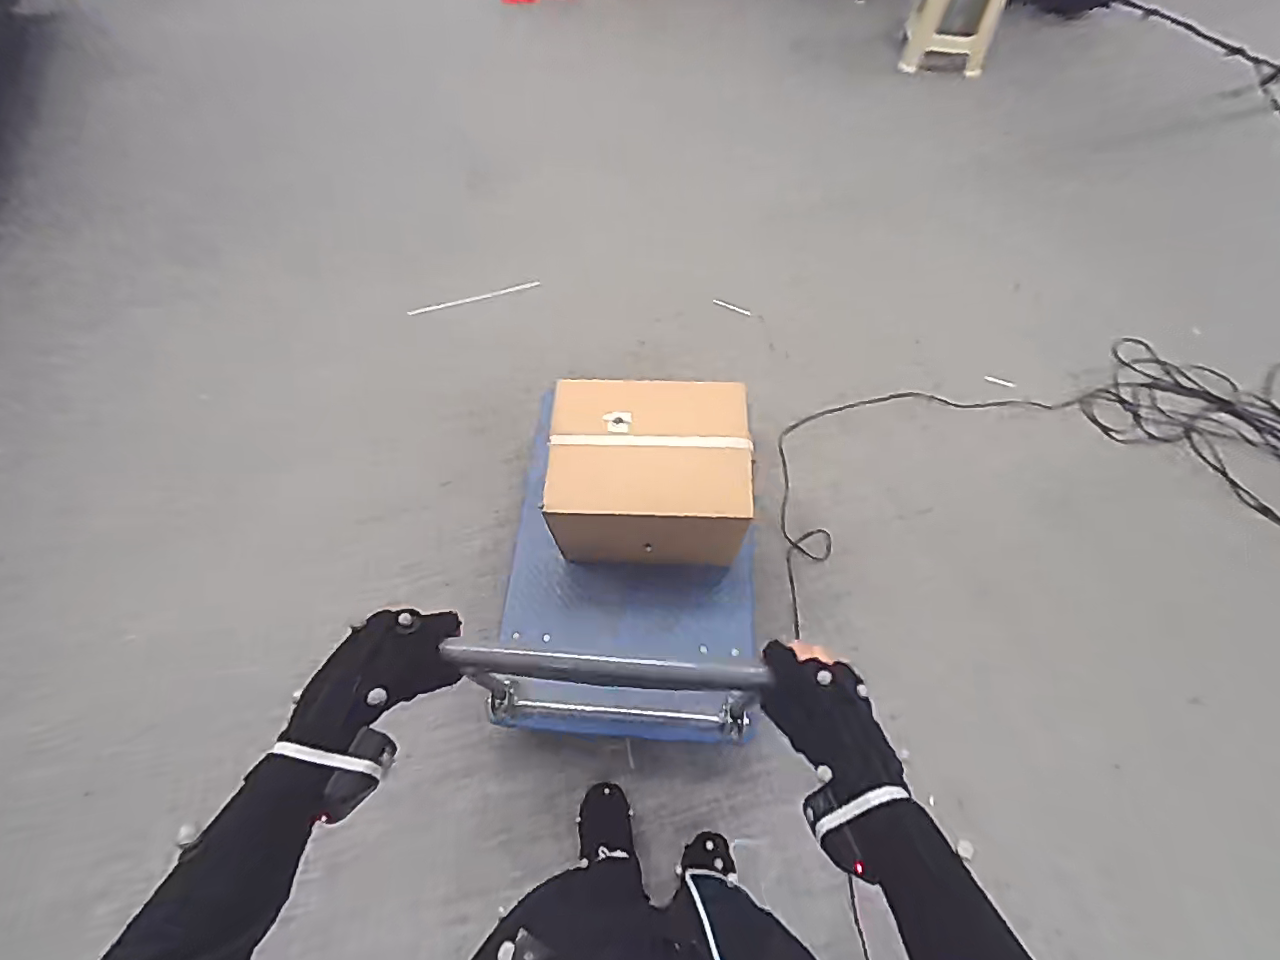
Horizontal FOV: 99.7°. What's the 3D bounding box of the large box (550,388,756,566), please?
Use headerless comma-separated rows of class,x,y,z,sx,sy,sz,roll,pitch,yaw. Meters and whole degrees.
large box,0.032,0.006,1.232,0.408,0.320,0.320,1,63,2
